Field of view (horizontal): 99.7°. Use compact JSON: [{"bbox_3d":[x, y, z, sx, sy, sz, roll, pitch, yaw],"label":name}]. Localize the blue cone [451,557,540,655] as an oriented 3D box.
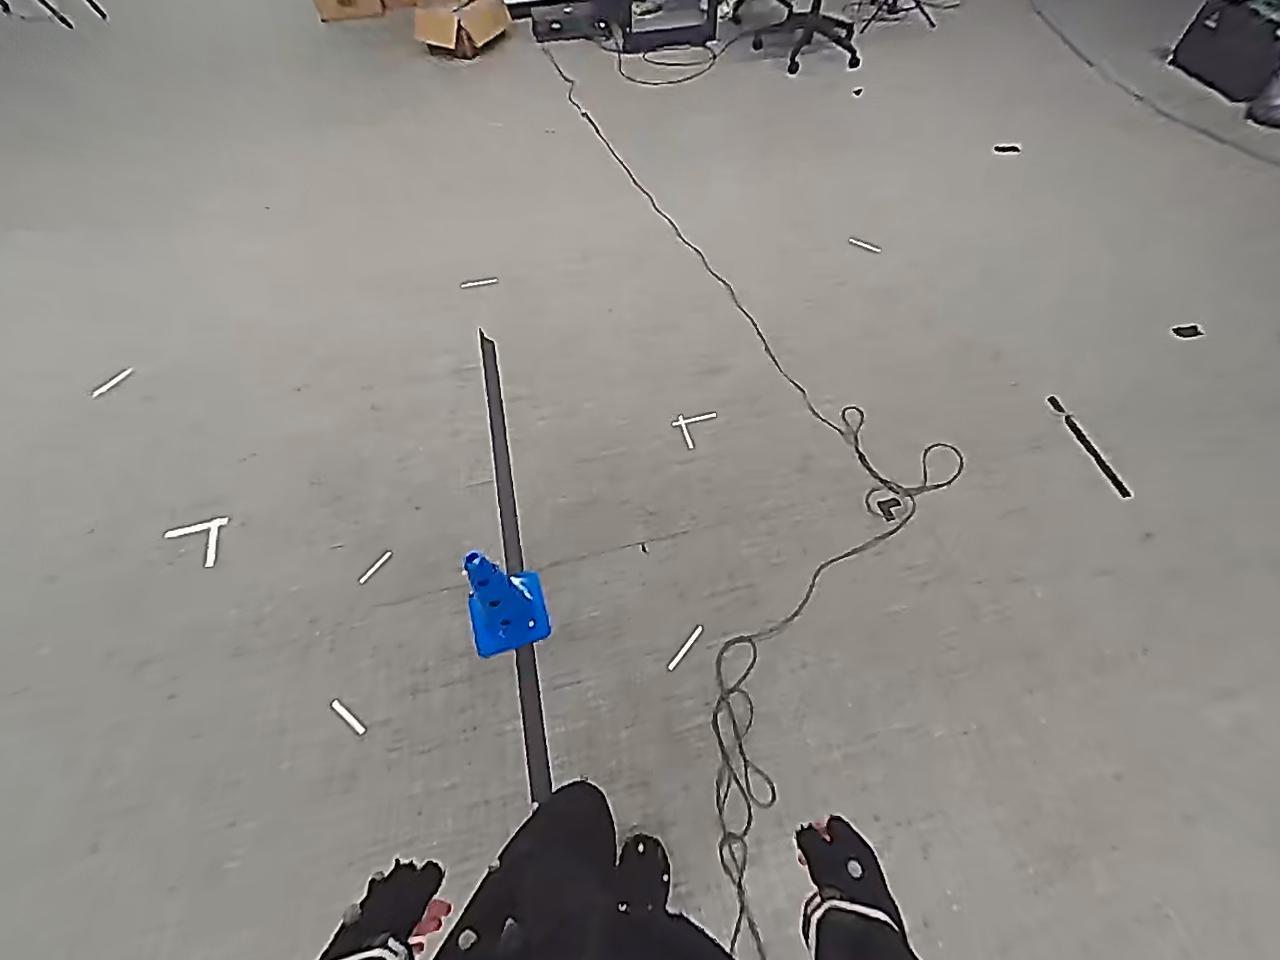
[{"bbox_3d":[-0.377,0.275,1.325,0.192,0.380,0.193,-15,59,-8],"label":"blue cone"}]
